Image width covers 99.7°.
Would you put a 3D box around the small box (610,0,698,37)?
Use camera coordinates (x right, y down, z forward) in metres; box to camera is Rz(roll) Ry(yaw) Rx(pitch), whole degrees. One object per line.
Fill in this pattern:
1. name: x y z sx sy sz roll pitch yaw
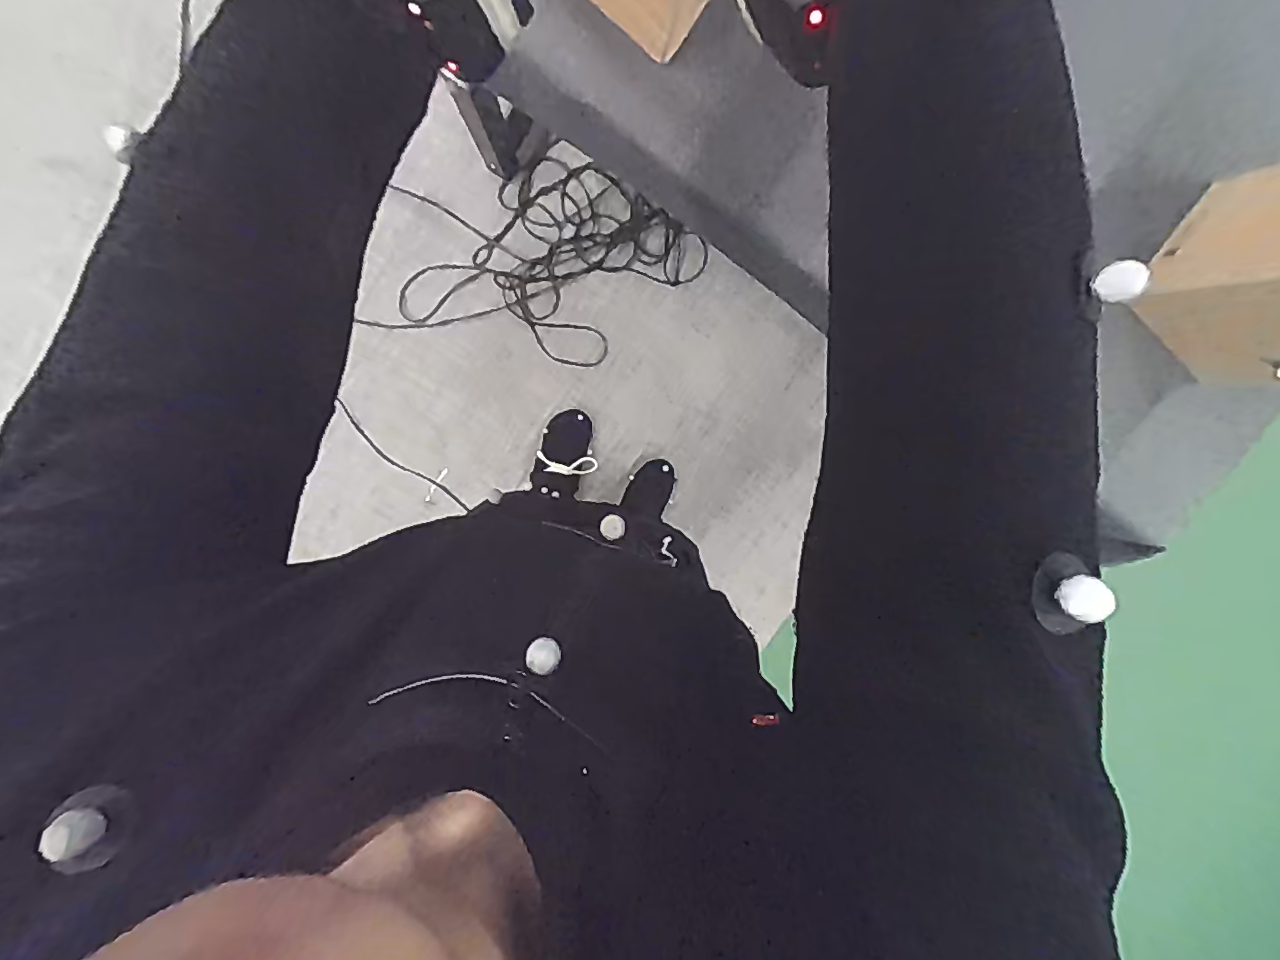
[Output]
1. small box: 0.011 -0.515 0.425 0.179 0.176 0.168 35 97 -14
